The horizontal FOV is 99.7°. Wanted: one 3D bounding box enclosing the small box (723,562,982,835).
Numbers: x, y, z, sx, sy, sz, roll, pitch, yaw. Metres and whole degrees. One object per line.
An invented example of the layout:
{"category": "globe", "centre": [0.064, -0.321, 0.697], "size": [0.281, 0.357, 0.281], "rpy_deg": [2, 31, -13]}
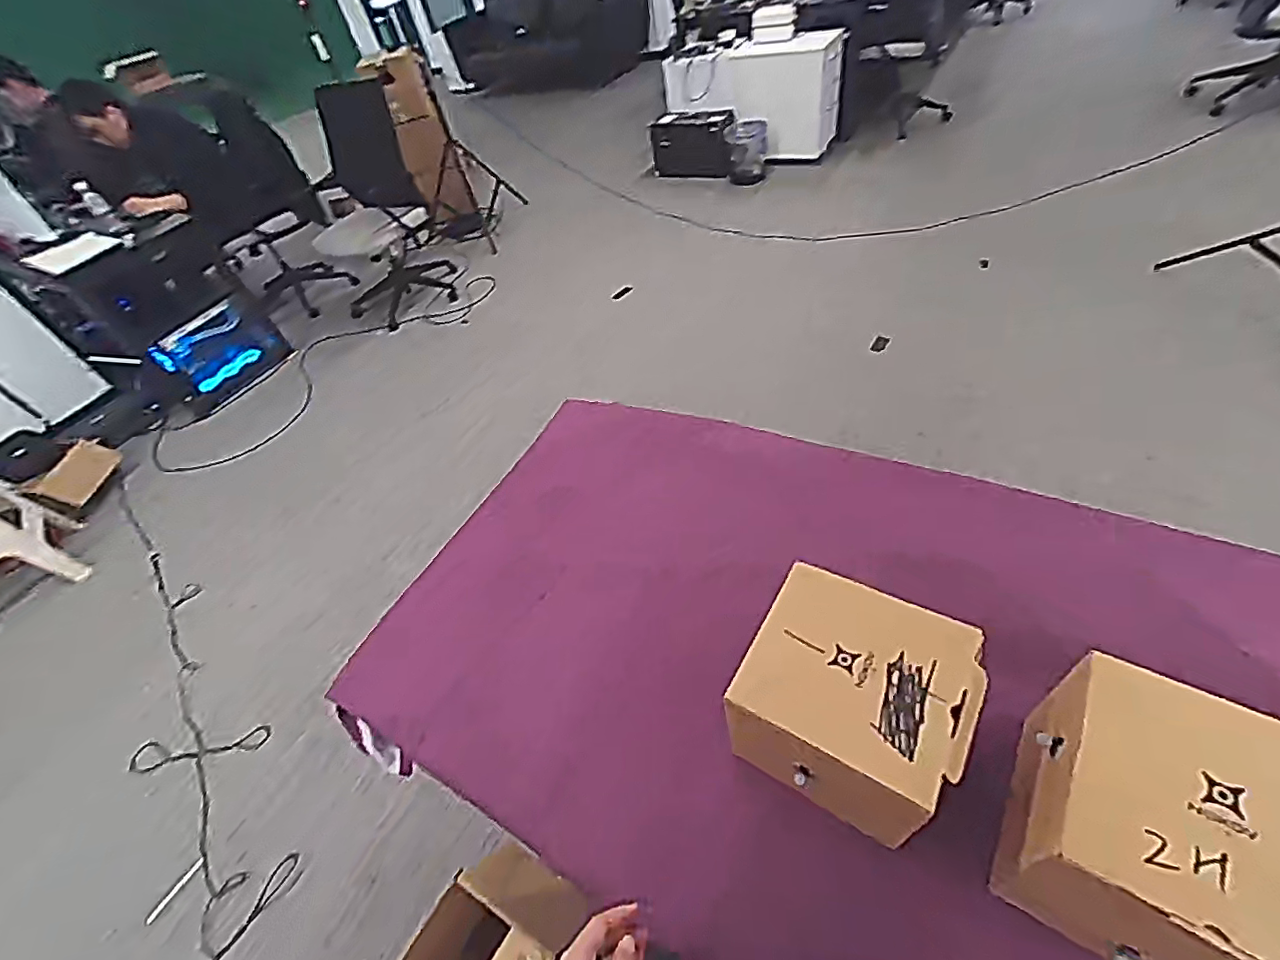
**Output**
{"category": "small box", "centre": [0.204, 0.218, 0.538], "size": [0.179, 0.176, 0.168], "rpy_deg": [20, 56, 30]}
